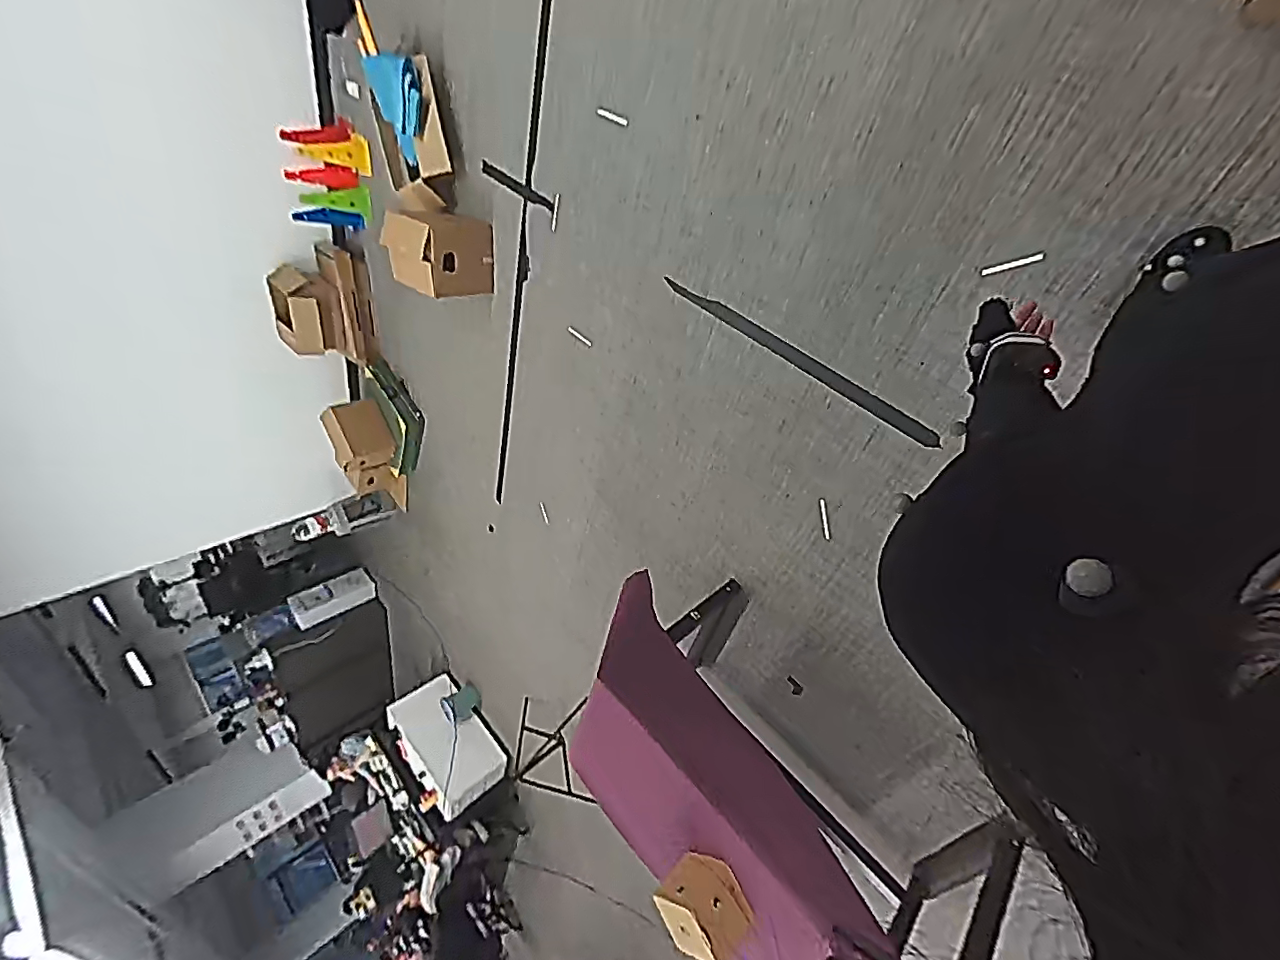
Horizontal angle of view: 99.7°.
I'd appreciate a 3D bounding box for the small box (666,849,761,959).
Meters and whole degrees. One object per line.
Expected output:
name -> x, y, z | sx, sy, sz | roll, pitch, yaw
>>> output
small box -> 0.210, 1.171, 1.503 | 0.179, 0.176, 0.168 | -33, 83, 51
